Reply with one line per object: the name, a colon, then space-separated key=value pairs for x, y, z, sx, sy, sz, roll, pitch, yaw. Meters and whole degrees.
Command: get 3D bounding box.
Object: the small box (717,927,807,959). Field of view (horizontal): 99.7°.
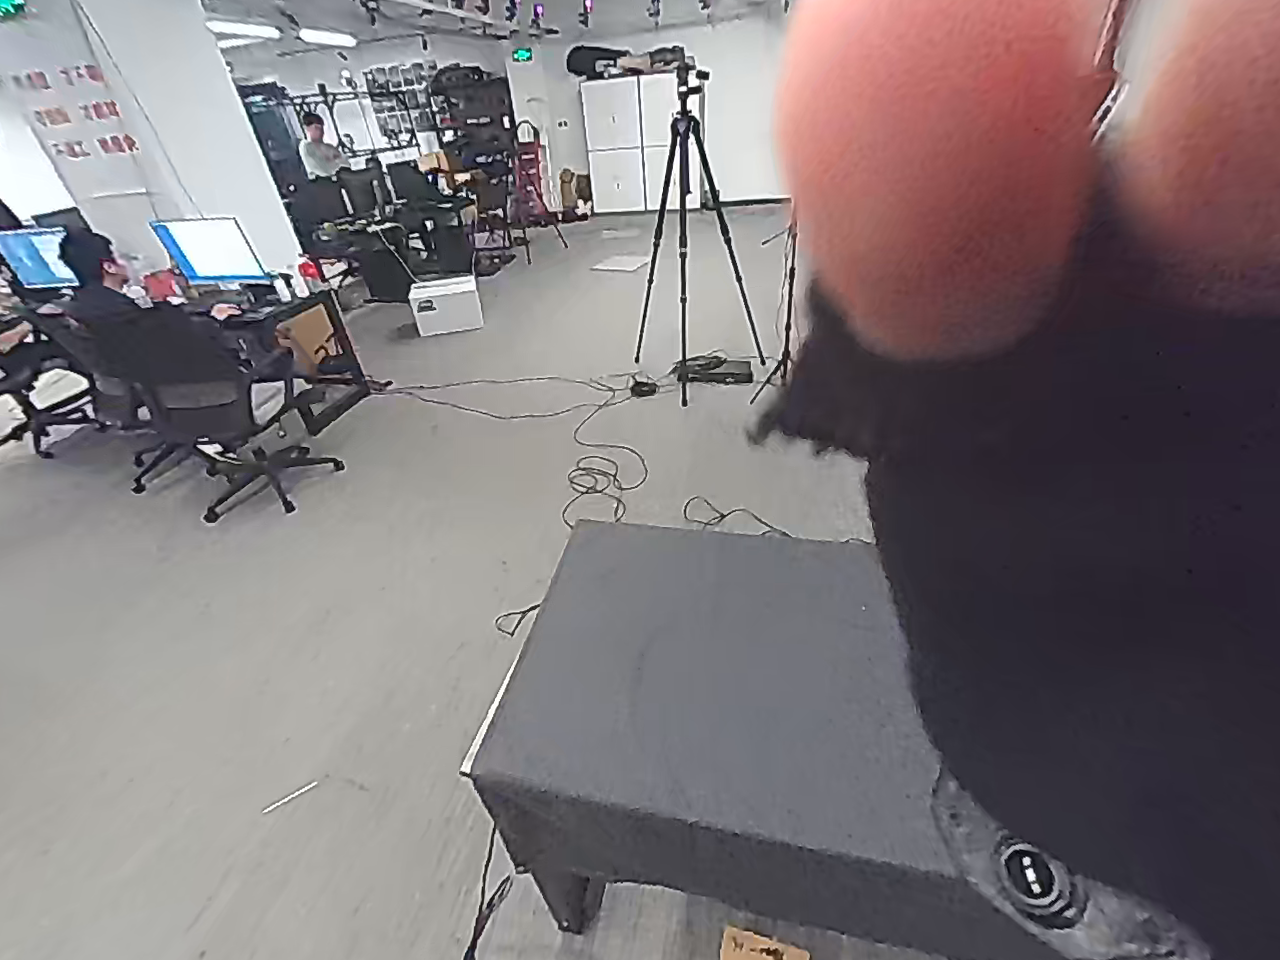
small box: x=0.224 y=1.010 z=1.031 sx=0.168 sy=0.176 sz=0.179 roll=6 pitch=36 yaw=17
